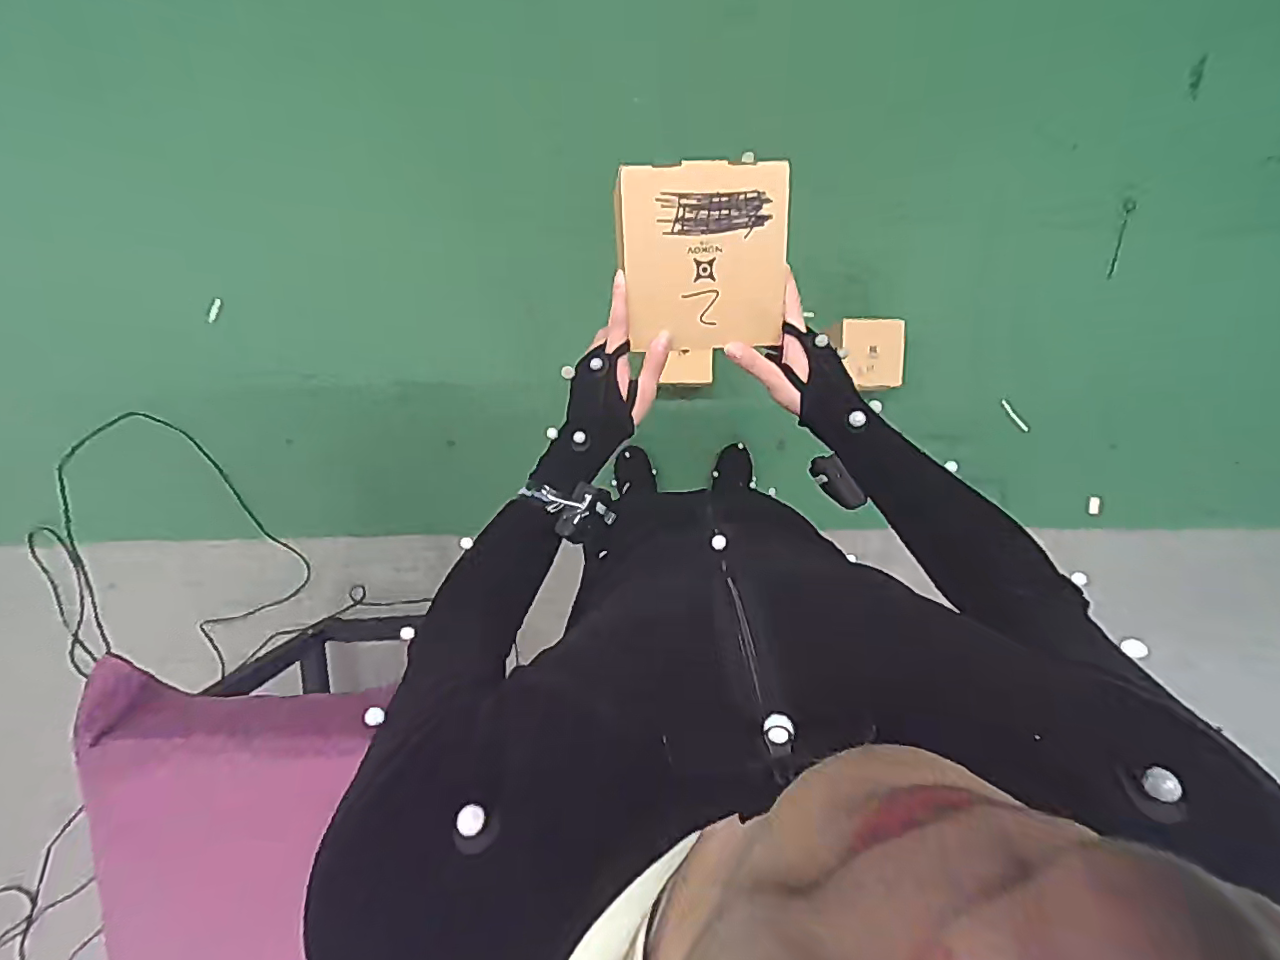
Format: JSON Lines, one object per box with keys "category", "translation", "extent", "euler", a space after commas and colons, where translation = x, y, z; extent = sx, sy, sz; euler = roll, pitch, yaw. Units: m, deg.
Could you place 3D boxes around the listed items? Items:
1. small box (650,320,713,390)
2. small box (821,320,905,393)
{"category": "small box", "translation": [0.113, -0.343, 1.513], "extent": [0.168, 0.176, 0.179], "euler": [-1, 94, 0]}
{"category": "small box", "translation": [0.616, -0.340, 1.510], "extent": [0.168, 0.176, 0.179], "euler": [1, 95, 0]}
